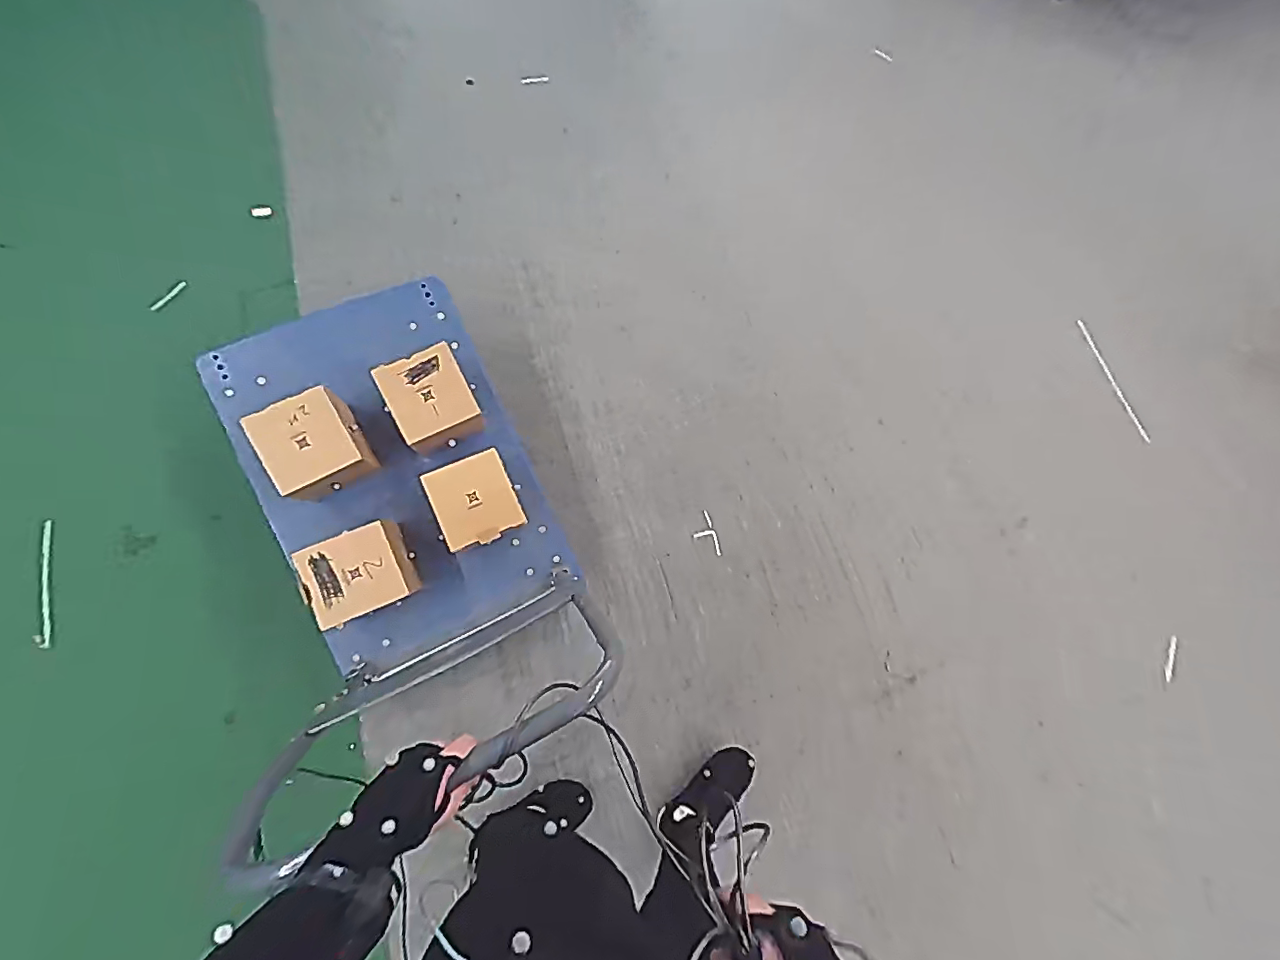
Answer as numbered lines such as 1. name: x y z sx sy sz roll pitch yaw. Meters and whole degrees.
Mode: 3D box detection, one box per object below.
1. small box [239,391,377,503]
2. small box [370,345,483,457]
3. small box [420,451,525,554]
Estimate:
1. small box: -0.694 -0.062 1.155 0.168 0.176 0.179 -29 90 -14
2. small box: -0.469 -0.169 1.212 0.168 0.176 0.179 -27 91 -12
3. small box: -0.368 0.054 1.211 0.168 0.176 0.179 -24 90 -13
